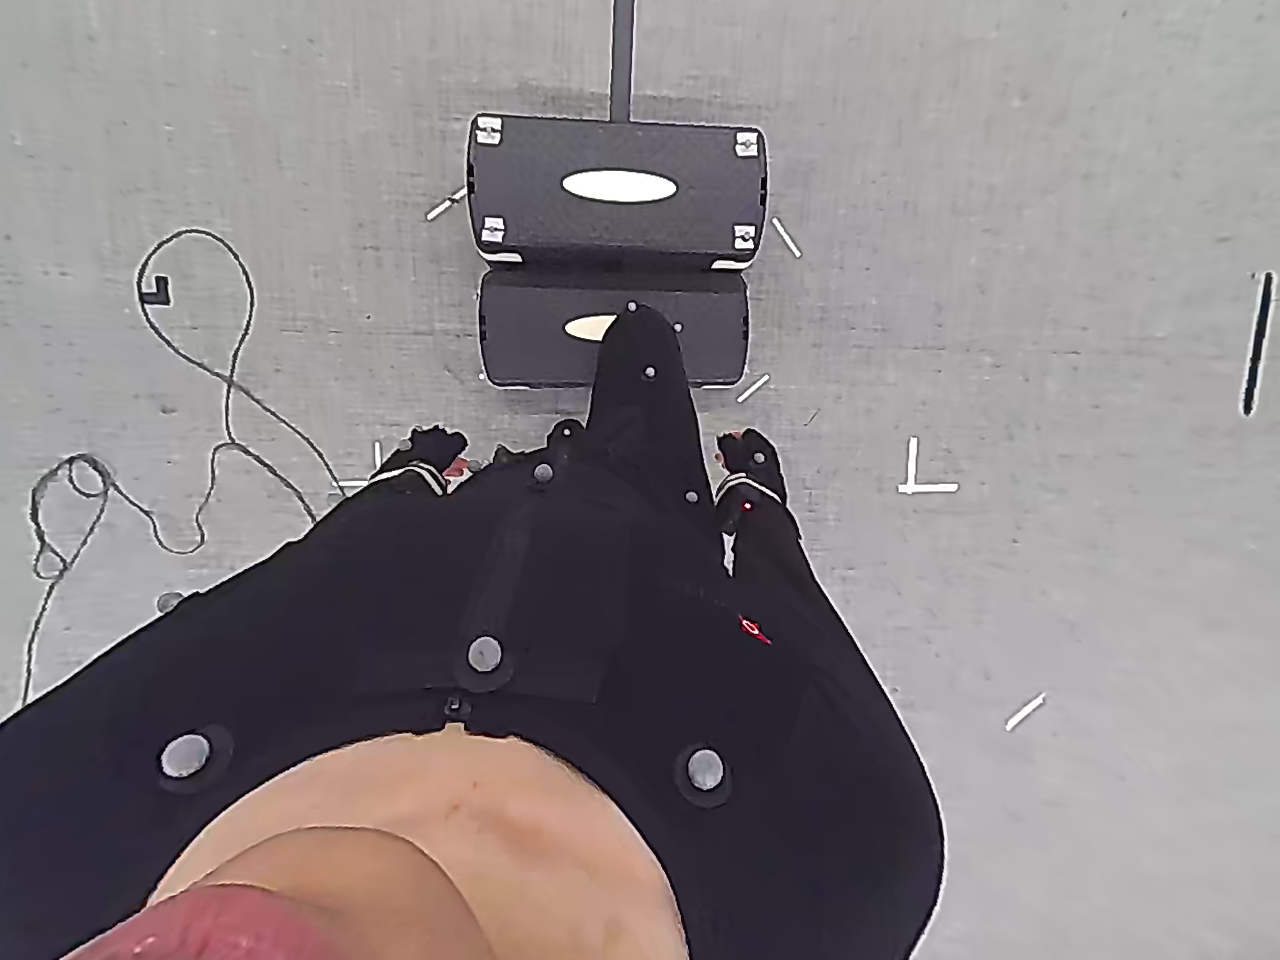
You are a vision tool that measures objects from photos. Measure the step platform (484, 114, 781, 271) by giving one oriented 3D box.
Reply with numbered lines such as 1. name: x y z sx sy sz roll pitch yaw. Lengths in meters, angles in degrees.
1. step platform: -0.016 -0.670 1.284 0.684 0.204 0.286 -1 99 -5
